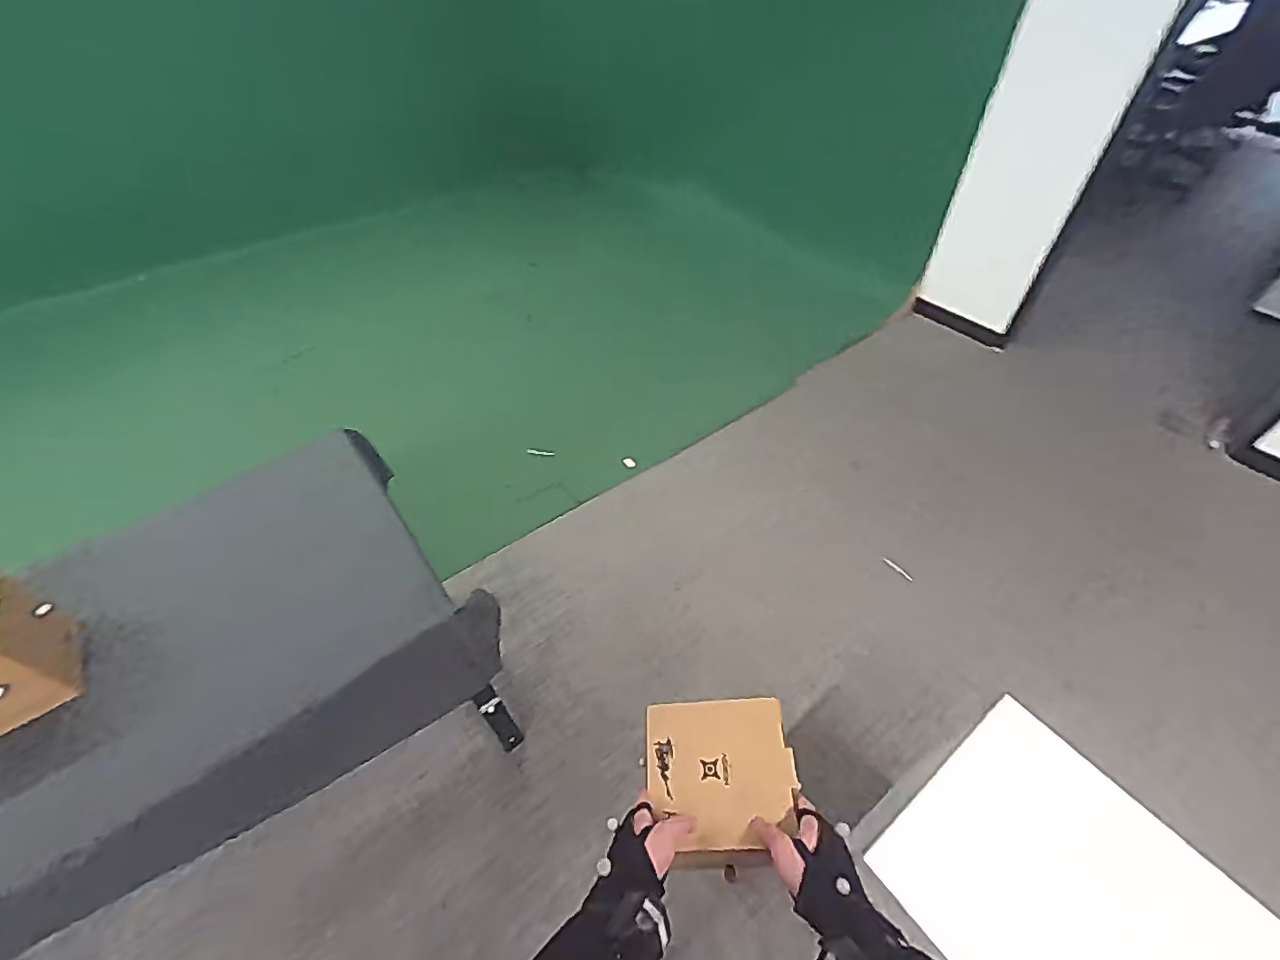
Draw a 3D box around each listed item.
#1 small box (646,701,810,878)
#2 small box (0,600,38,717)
[{"bbox_3d":[0.102,0.398,0.693,0.179,0.176,0.168,-6,47,4],"label":"small box"},{"bbox_3d":[-0.988,0.255,0.737,0.179,0.176,0.168,-30,53,-25],"label":"small box"}]
